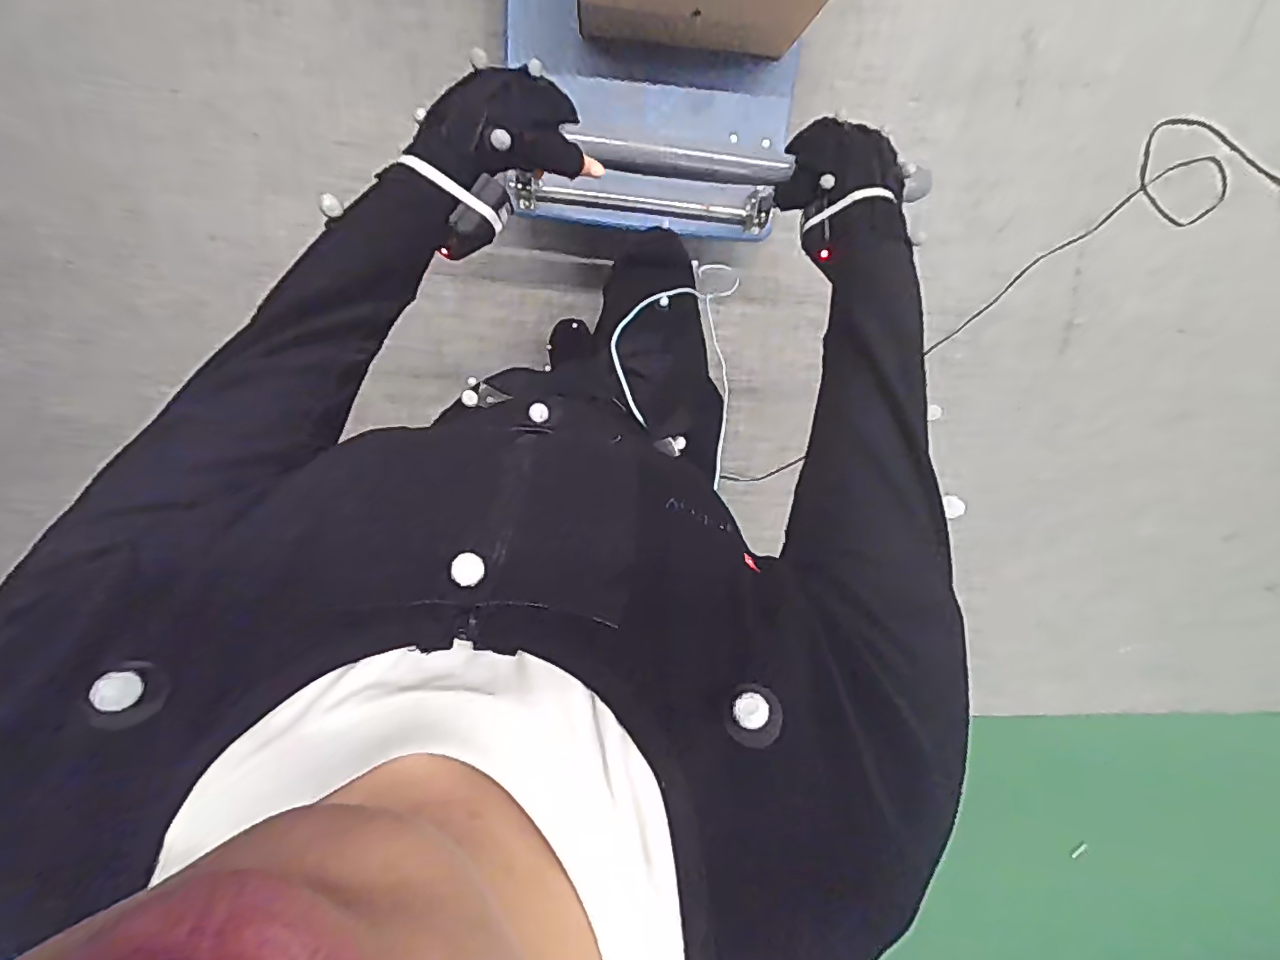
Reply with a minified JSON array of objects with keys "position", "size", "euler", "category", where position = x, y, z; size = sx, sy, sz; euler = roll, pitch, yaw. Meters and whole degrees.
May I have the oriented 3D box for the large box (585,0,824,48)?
[{"position":[0.112,-0.951,0.877],"size":[0.408,0.320,0.320],"euler":[1,109,-4],"category":"large box"}]
